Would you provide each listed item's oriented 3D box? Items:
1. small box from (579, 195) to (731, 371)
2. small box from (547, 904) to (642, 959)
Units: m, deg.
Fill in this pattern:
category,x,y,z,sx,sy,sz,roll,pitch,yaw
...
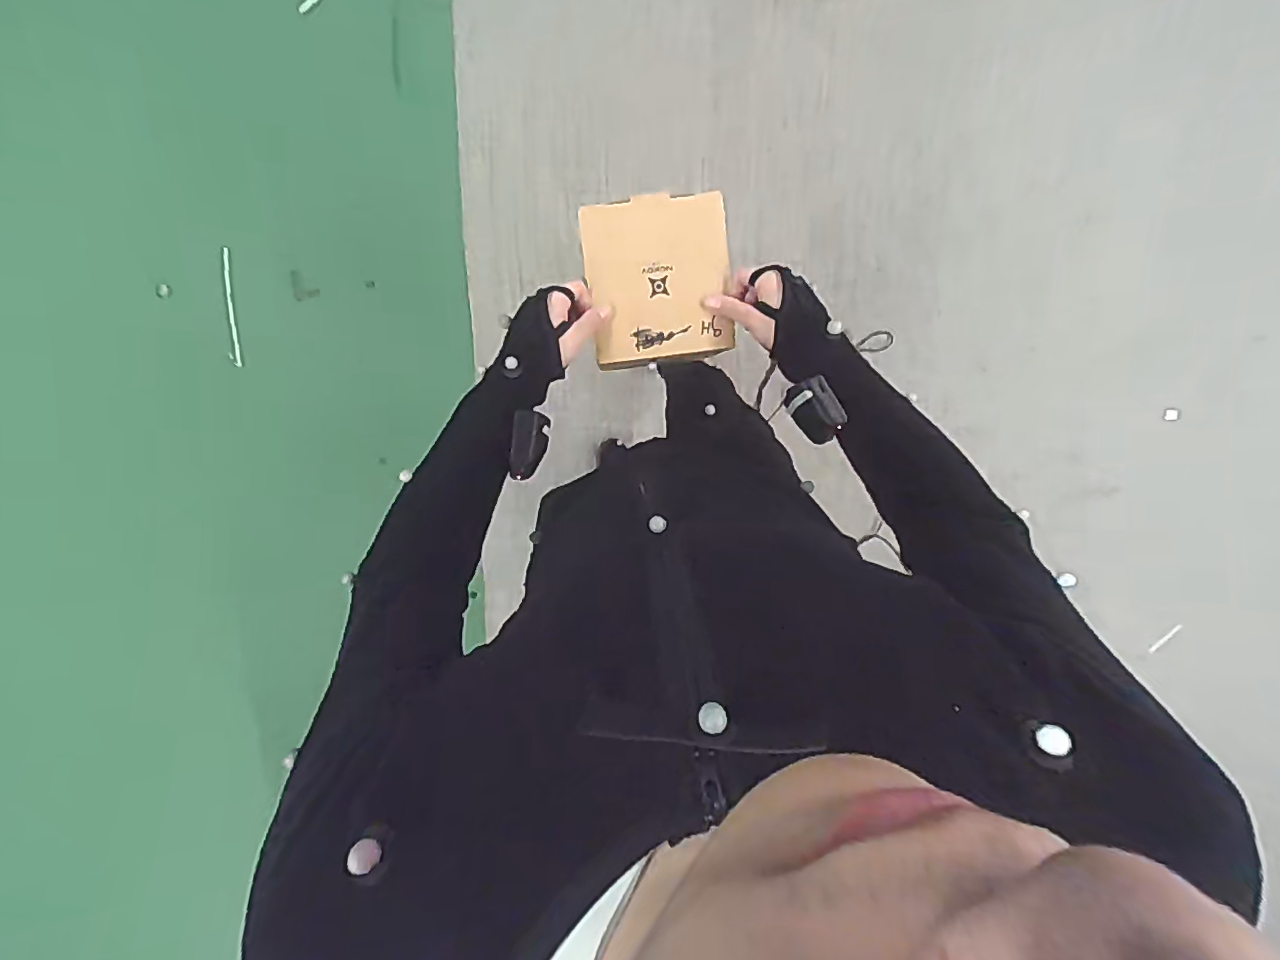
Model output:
category,x,y,z,sx,sy,sz,roll,pitch,yaw
small box,0.014,-0.241,0.699,0.168,0.176,0.179,-7,99,-2
small box,-0.077,0.888,0.951,0.168,0.176,0.179,-3,102,-2
